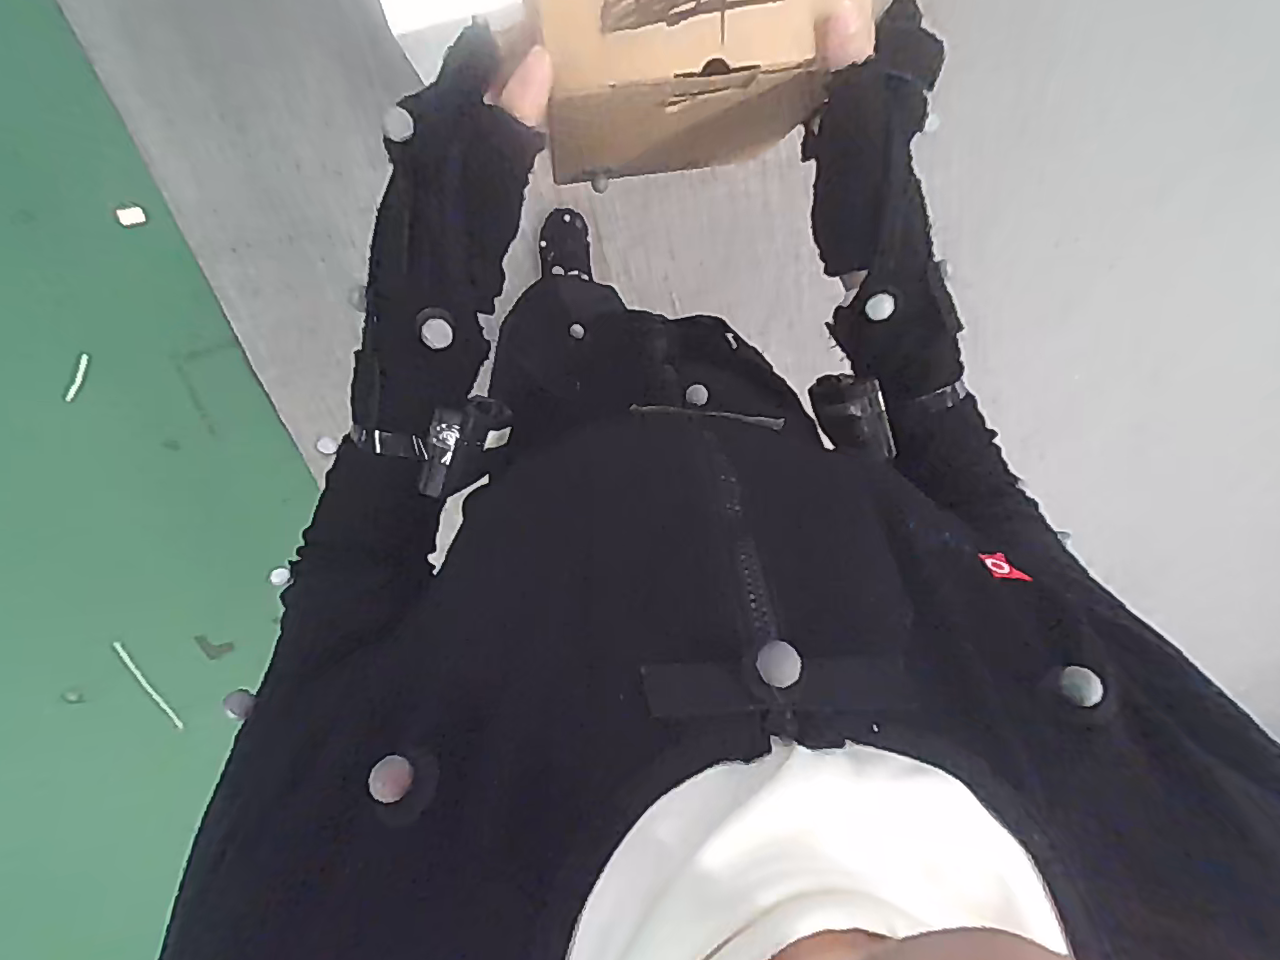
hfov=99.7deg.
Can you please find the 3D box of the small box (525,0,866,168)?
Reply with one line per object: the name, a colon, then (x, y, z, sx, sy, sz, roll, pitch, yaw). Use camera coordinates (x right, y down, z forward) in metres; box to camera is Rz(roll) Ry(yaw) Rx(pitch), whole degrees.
small box: (0.012, -0.306, 0.320, 0.168, 0.176, 0.179, -11, 105, -4)
